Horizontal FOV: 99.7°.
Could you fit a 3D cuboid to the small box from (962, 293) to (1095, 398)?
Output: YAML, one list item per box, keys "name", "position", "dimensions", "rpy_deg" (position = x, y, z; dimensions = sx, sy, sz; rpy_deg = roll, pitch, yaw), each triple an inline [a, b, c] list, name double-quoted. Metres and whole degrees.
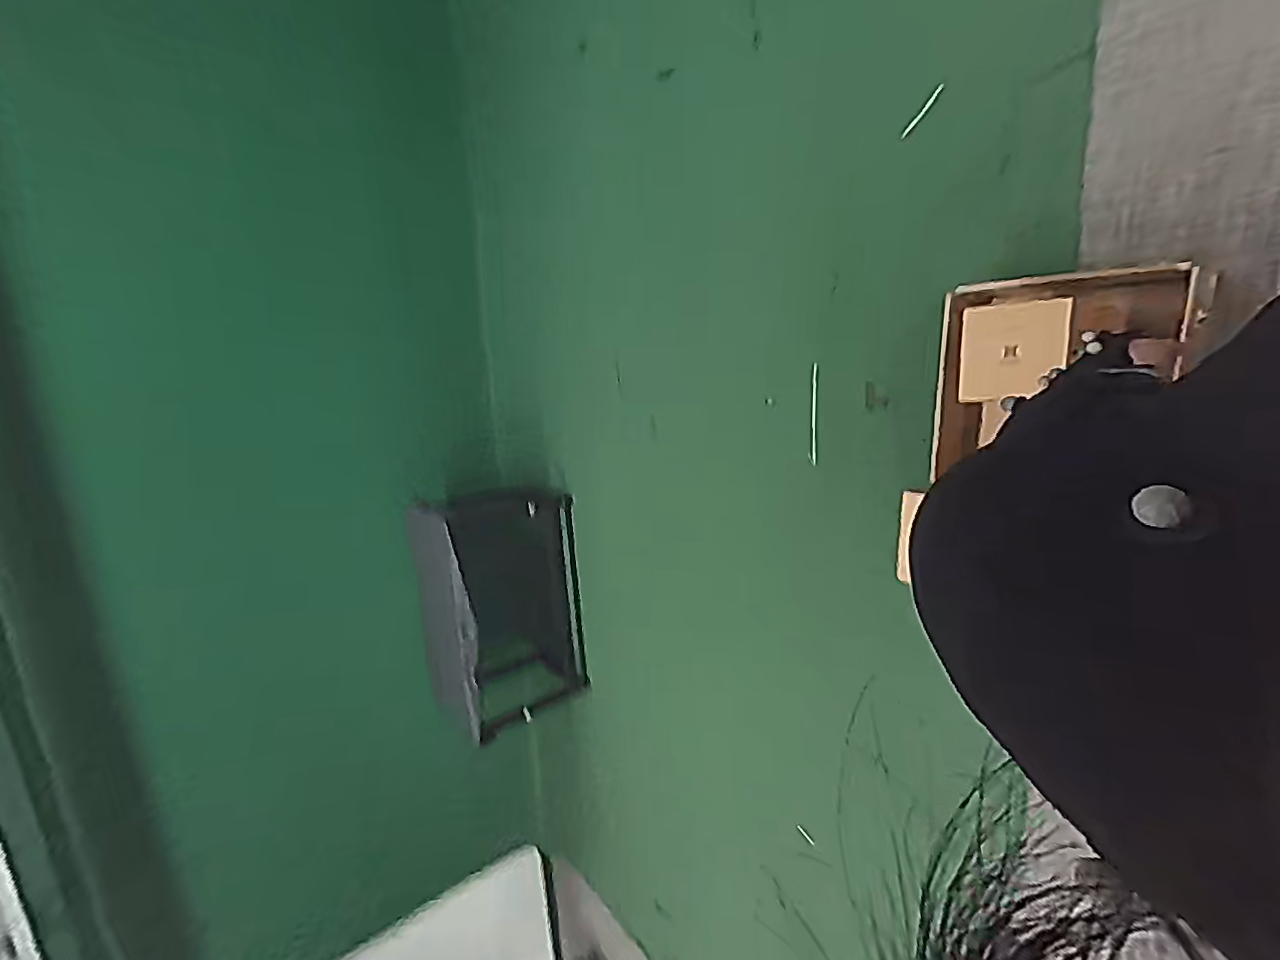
- name: "small box"
  position: [0.730, -0.251, 1.017]
  dimensions: [0.168, 0.176, 0.179]
  rpy_deg: [9, 108, 48]
